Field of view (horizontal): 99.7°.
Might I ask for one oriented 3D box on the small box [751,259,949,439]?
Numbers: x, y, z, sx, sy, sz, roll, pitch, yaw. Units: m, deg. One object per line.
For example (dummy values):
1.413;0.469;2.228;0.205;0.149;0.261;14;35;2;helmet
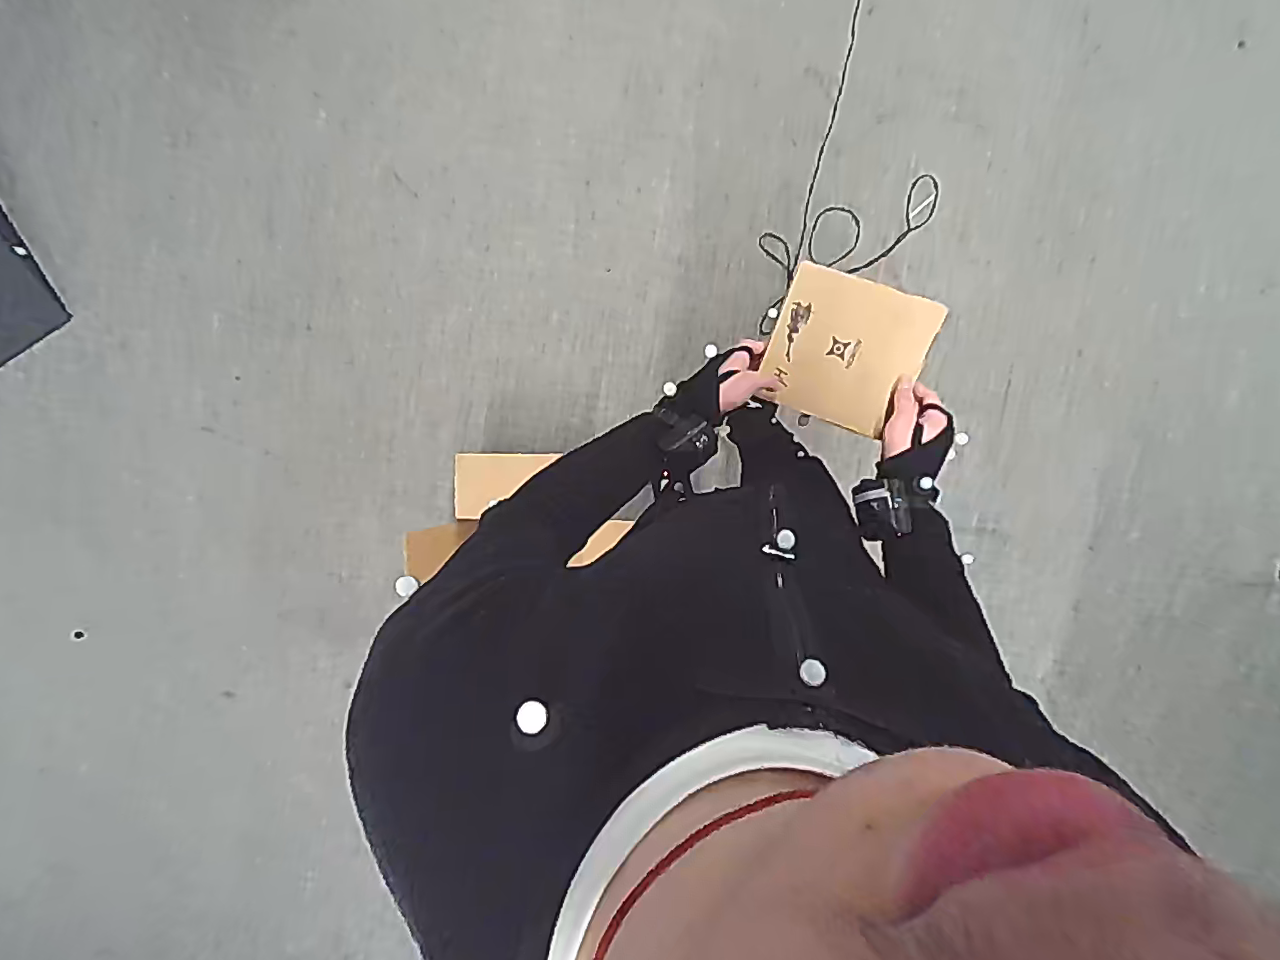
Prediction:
0.258;-0.166;0.714;0.179;0.176;0.168;21;102;7;small box
